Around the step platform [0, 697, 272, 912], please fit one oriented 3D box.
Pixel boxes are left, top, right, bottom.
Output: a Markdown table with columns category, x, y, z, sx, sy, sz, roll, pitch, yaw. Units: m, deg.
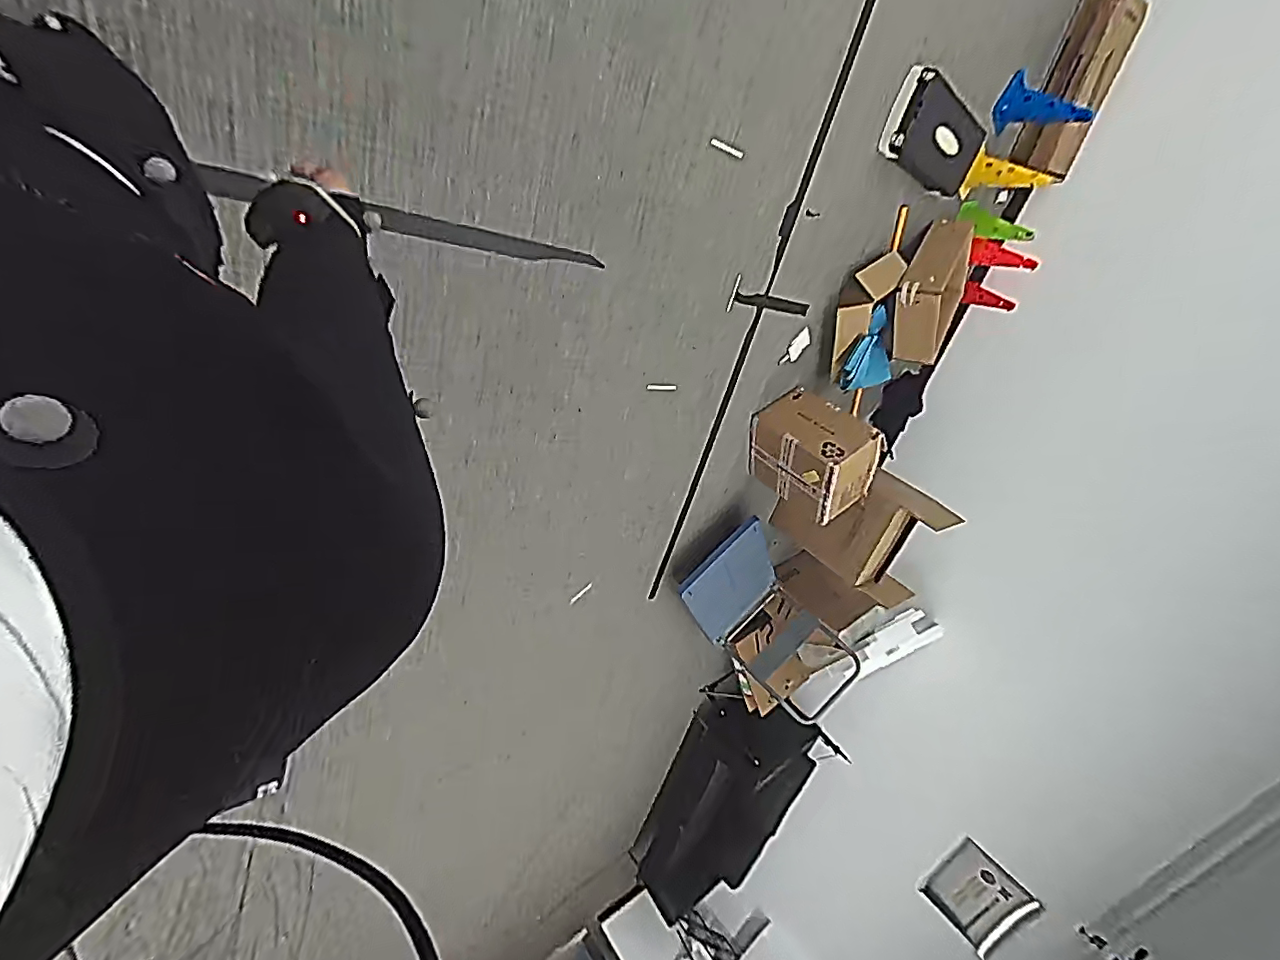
| category | x | y | z | sx | sy | sz | roll | pitch | yaw |
| --- | --- | --- | --- | --- | --- | --- | --- | --- | --- |
| step platform | -1.380 | 0.843 | 1.420 | 0.684 | 0.204 | 0.286 | -10 | 128 | -43 |
